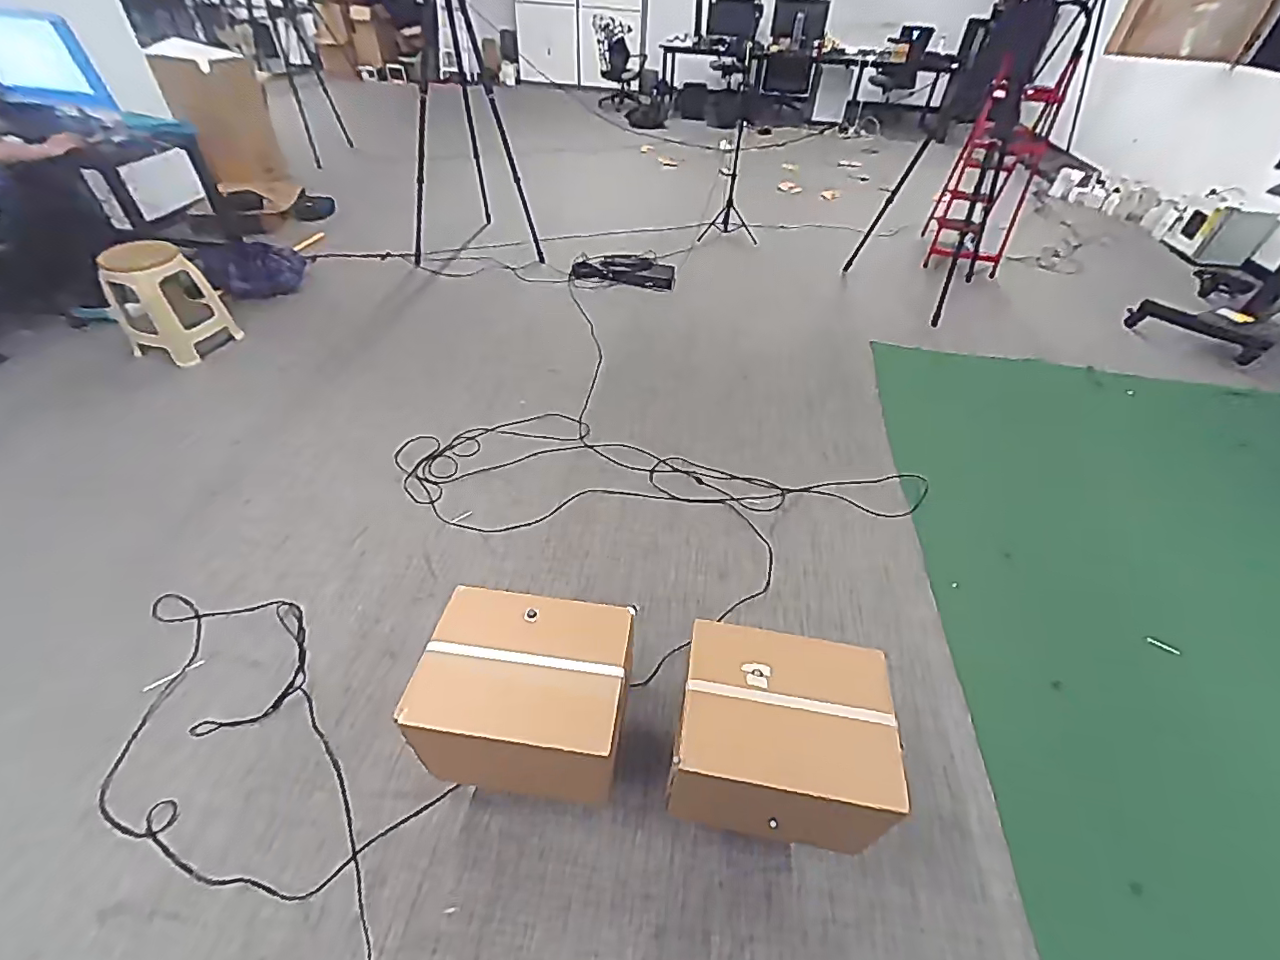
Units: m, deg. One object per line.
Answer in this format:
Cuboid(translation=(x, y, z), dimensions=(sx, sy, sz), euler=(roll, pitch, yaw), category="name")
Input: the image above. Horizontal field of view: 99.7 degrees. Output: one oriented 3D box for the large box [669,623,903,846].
Cuboid(translation=(0.288, 0.550, 1.171), dimensions=(0.408, 0.320, 0.320), euler=(9, 44, 6), category="large box")
